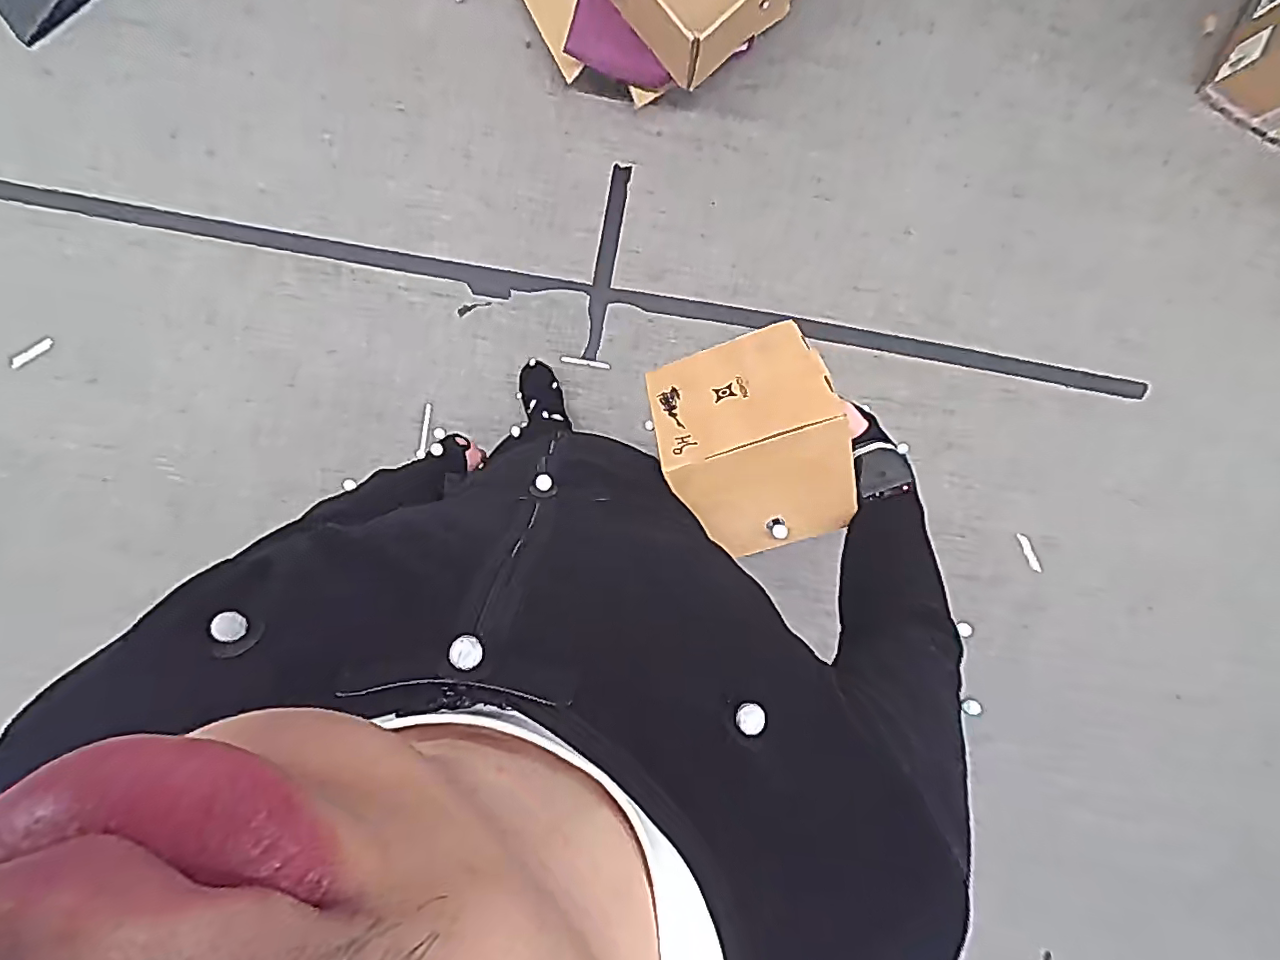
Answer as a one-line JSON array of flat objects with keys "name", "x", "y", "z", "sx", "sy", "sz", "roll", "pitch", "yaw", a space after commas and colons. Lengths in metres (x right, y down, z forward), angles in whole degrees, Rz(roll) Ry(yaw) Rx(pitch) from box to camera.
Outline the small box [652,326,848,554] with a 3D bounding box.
[{"name": "small box", "x": 0.127, "y": -0.041, "z": 0.624, "sx": 0.179, "sy": 0.168, "sz": 0.176, "roll": -17, "pitch": 134, "yaw": 10}]
